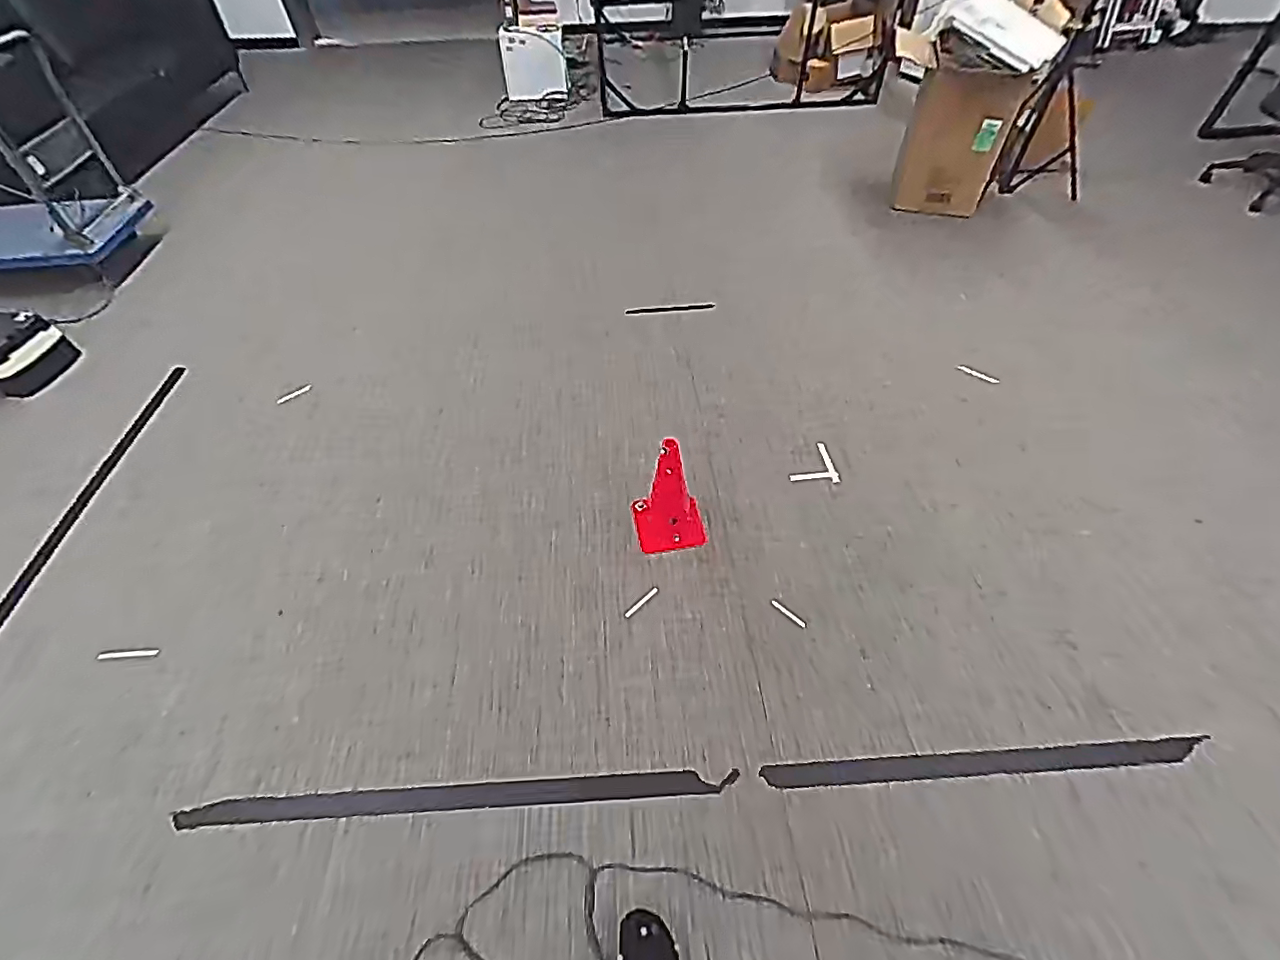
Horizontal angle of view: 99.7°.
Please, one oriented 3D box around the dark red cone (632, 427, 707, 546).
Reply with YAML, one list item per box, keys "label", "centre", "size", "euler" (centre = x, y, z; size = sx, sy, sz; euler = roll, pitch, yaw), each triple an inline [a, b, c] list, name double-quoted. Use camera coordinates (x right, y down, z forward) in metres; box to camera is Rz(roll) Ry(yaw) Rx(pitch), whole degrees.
- label: "dark red cone"
  centre: [0.083, 0.001, 1.490]
  size: [0.202, 0.394, 0.201]
  euler: [-10, 52, -6]
